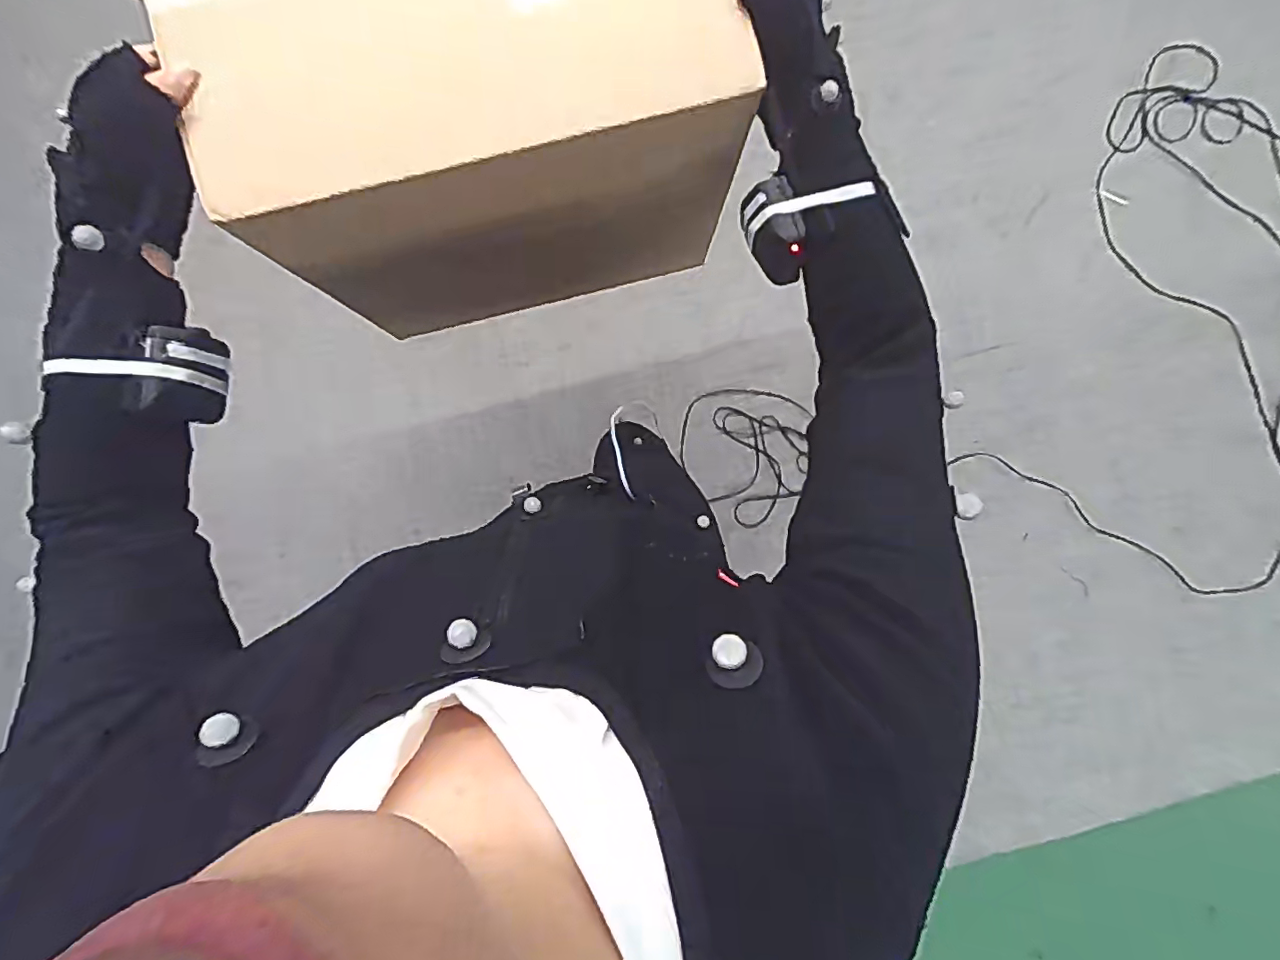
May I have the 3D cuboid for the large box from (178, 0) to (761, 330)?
[{"bbox_3d":[-0.144,-0.385,0.540,0.408,0.320,0.320,-15,90,-2],"label":"large box"}]
